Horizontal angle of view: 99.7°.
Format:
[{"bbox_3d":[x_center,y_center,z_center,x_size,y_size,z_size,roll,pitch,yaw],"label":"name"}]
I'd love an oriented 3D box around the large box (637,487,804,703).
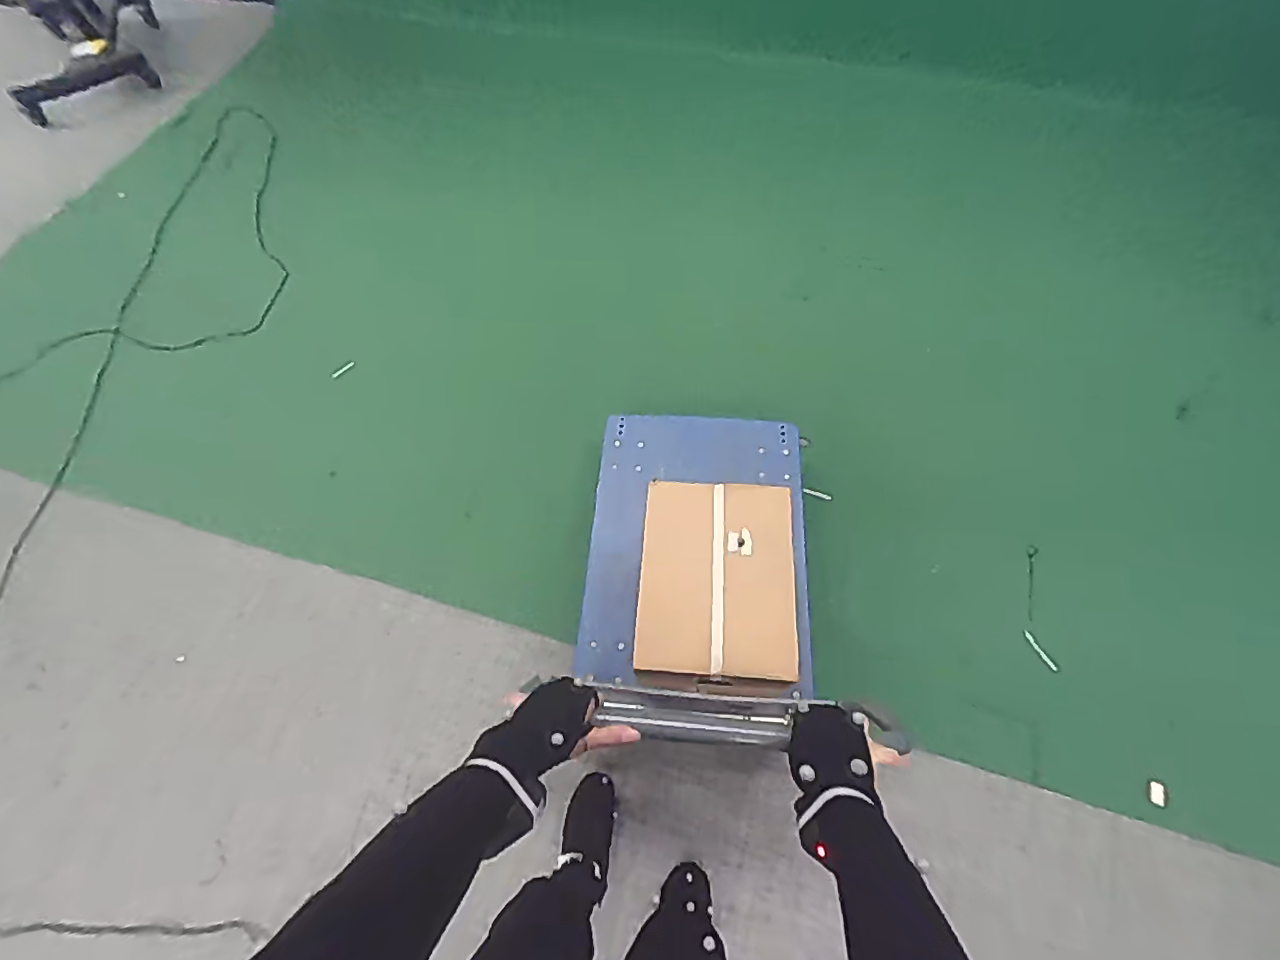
[{"bbox_3d":[0.169,0.267,1.222,0.320,0.320,0.408,3,62,4],"label":"large box"}]
